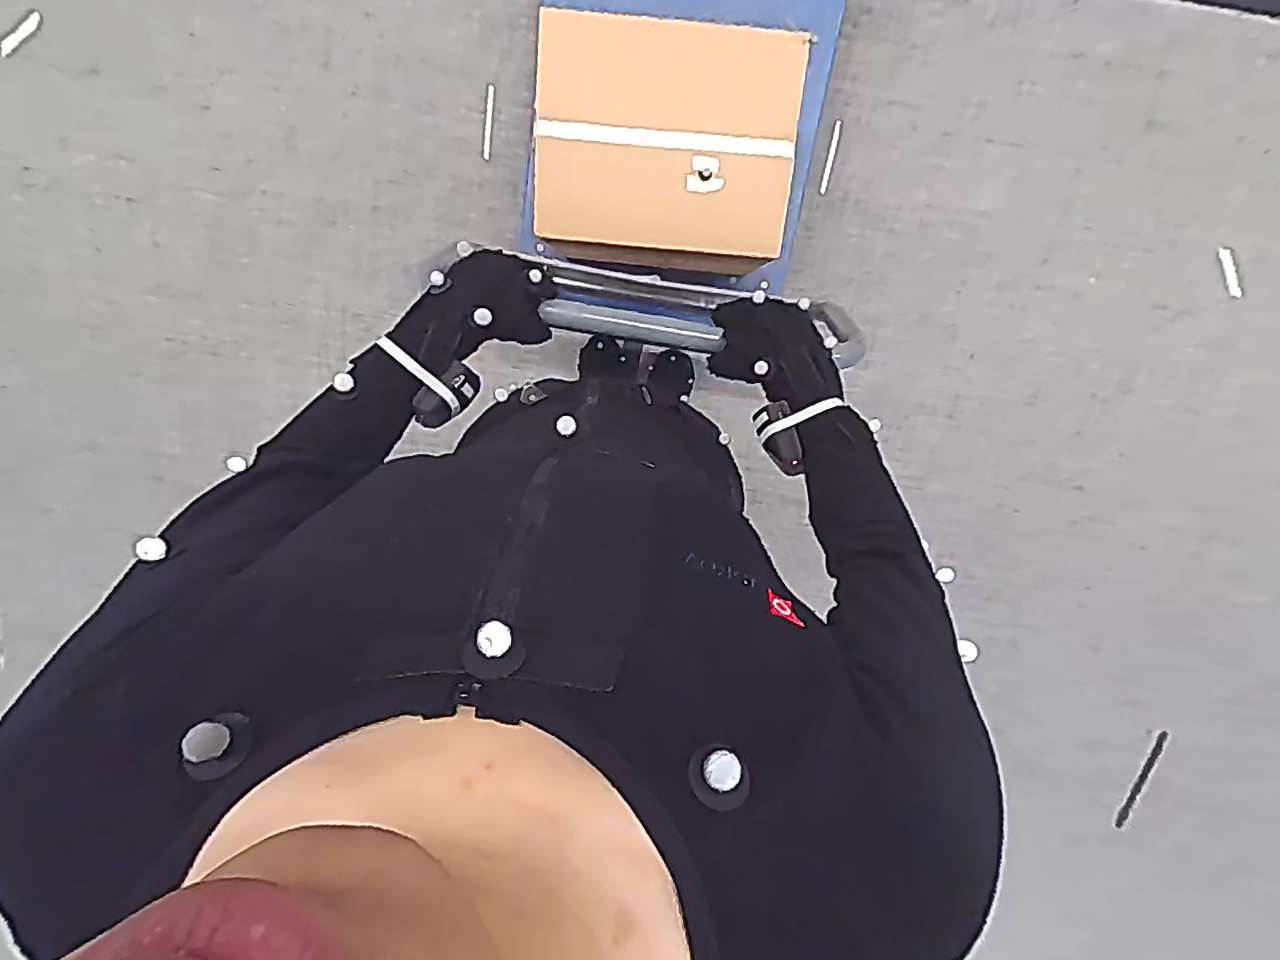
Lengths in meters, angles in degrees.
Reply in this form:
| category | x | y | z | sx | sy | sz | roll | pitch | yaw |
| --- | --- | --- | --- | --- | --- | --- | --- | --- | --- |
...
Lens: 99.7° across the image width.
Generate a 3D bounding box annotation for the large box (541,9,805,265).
| category | x | y | z | sx | sy | sz | roll | pitch | yaw |
| --- | --- | --- | --- | --- | --- | --- | --- | --- | --- |
| large box | 0.041 | -0.586 | 0.994 | 0.408 | 0.320 | 0.320 | 4 | 107 | -1 |
